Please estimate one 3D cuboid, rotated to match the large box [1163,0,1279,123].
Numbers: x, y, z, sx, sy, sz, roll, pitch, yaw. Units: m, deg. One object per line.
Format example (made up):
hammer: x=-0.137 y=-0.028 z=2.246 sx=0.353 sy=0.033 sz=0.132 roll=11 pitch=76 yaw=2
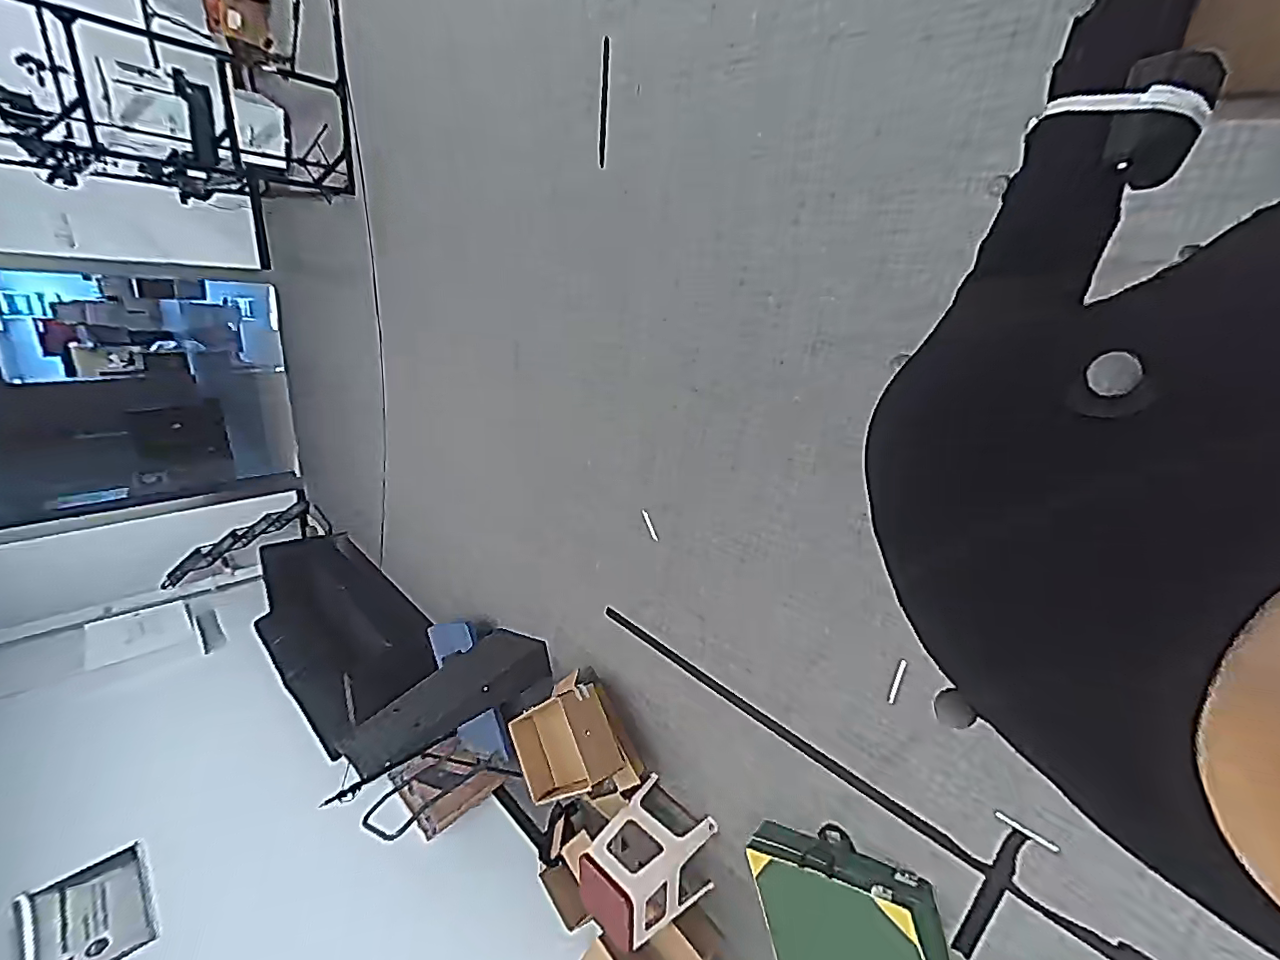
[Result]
large box: x=0.608 y=-0.398 z=0.291 sx=0.408 sy=0.320 sz=0.320 roll=23 pitch=128 yaw=35
